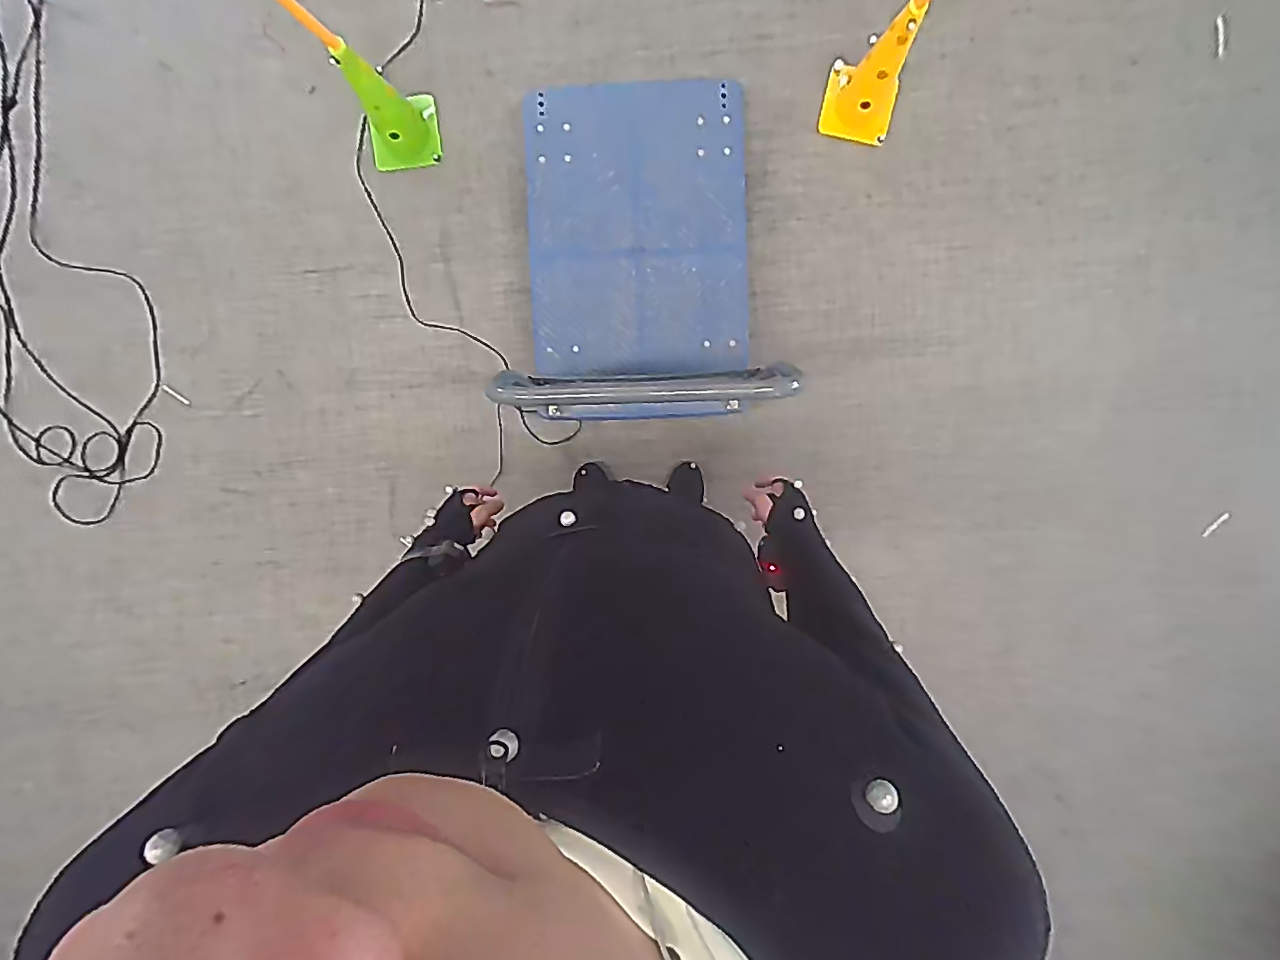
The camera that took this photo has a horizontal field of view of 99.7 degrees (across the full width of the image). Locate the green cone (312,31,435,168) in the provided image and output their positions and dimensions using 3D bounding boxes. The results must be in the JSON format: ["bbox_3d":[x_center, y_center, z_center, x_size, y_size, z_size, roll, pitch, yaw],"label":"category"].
[{"bbox_3d":[-0.712,-1.014,1.402,0.202,0.368,0.200,-8,93,3],"label":"green cone"}]
